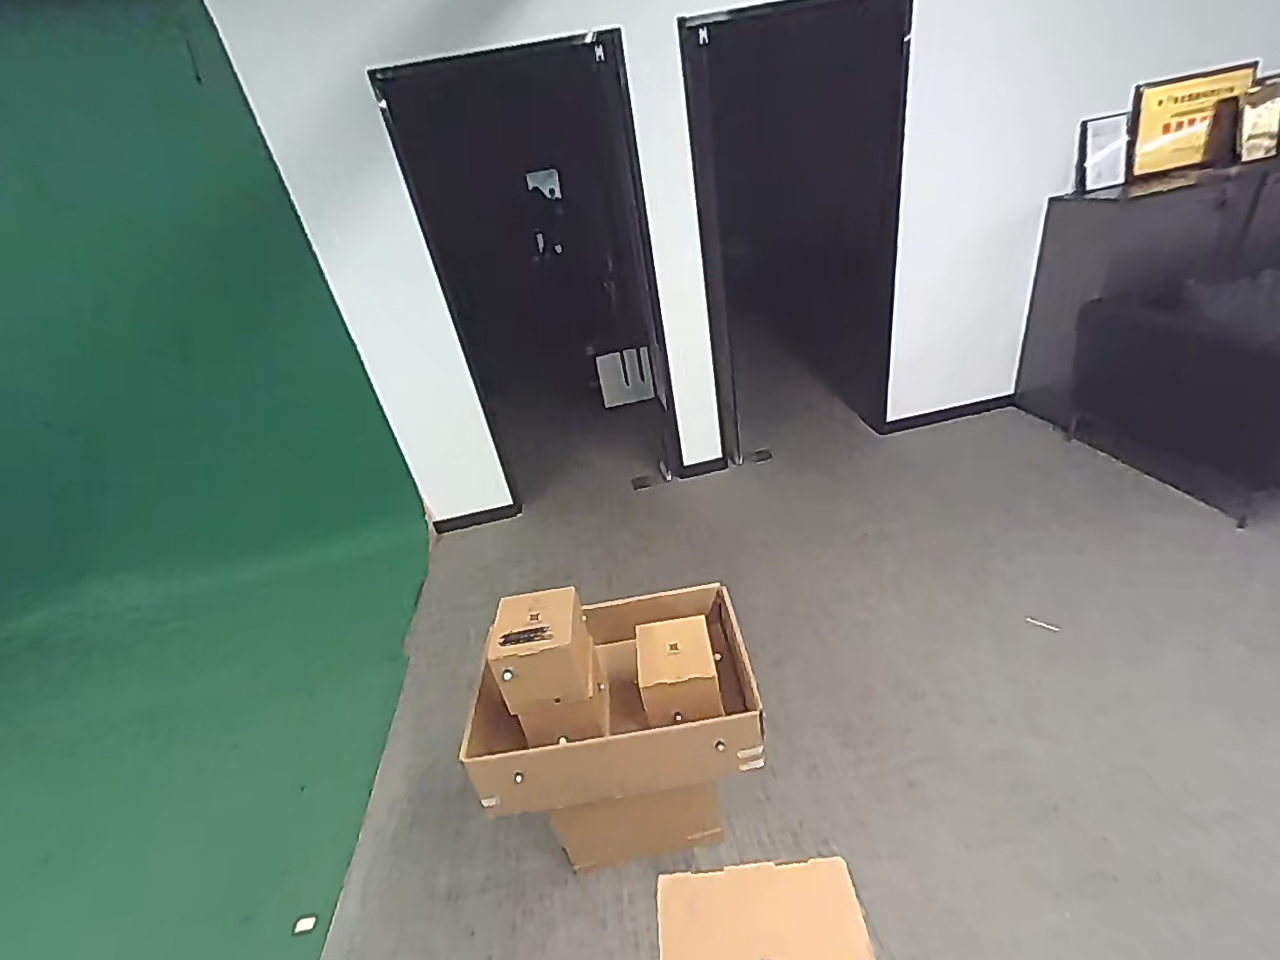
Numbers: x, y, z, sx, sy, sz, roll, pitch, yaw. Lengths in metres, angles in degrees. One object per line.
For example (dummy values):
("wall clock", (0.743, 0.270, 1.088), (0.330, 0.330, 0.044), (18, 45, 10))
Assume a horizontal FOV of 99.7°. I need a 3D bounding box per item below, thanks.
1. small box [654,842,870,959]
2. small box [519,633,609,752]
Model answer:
("small box", (0.105, 0.441, 0.449), (0.168, 0.176, 0.179), (-9, 33, 4))
("small box", (-0.168, 0.486, 1.240), (0.168, 0.176, 0.179), (-11, 31, 0))
